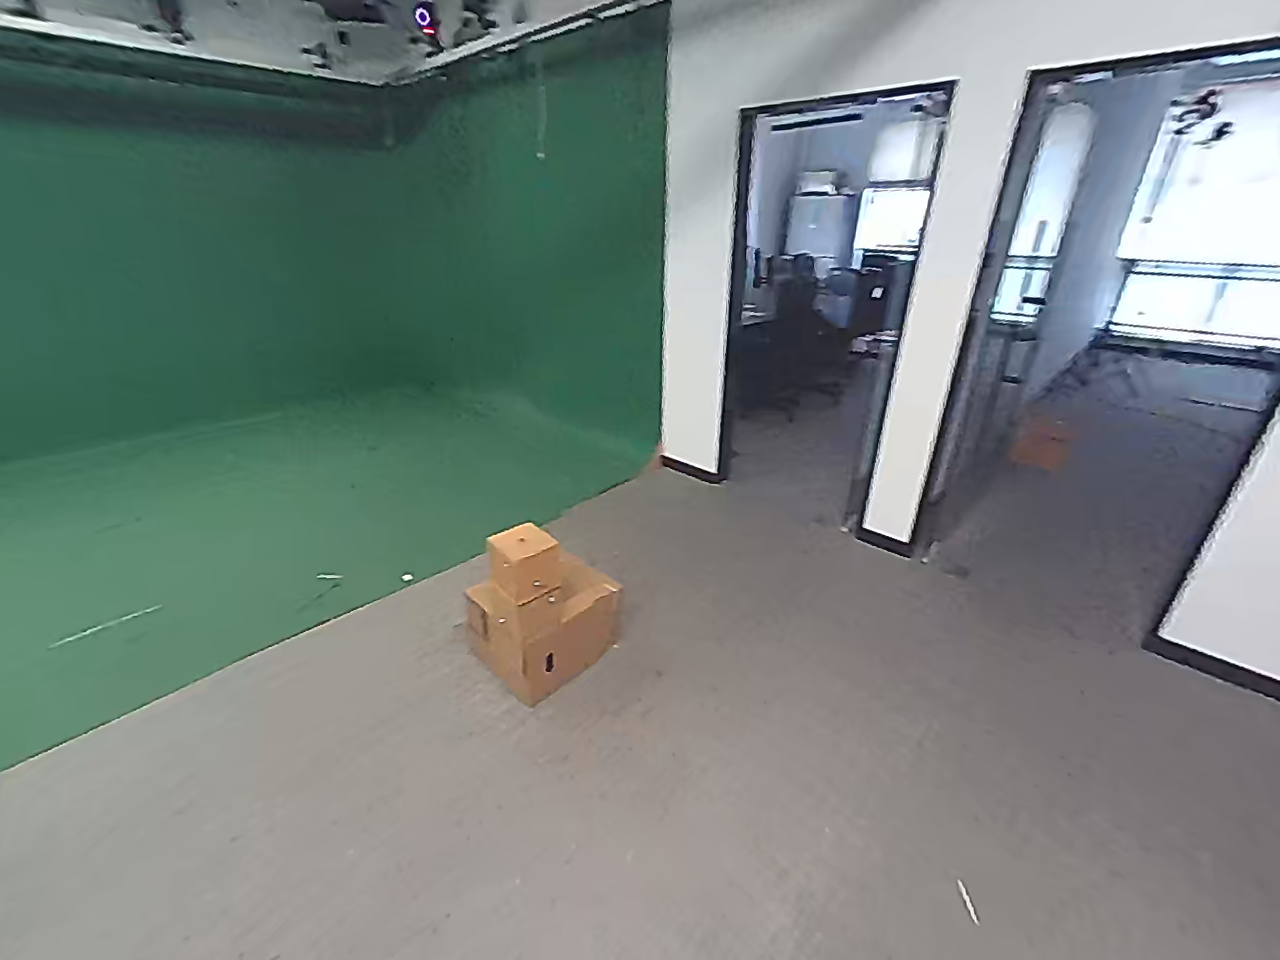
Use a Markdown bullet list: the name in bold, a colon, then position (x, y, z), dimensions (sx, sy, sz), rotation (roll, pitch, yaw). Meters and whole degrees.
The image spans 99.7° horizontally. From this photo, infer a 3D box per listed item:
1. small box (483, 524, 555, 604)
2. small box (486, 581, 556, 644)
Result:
- **small box**: position (-0.395, 0.273, 1.766), dimensions (0.168, 0.176, 0.179), rotation (-21, 35, -40)
- **small box**: position (-0.404, 0.420, 1.837), dimensions (0.179, 0.176, 0.168), rotation (-22, 34, -40)
